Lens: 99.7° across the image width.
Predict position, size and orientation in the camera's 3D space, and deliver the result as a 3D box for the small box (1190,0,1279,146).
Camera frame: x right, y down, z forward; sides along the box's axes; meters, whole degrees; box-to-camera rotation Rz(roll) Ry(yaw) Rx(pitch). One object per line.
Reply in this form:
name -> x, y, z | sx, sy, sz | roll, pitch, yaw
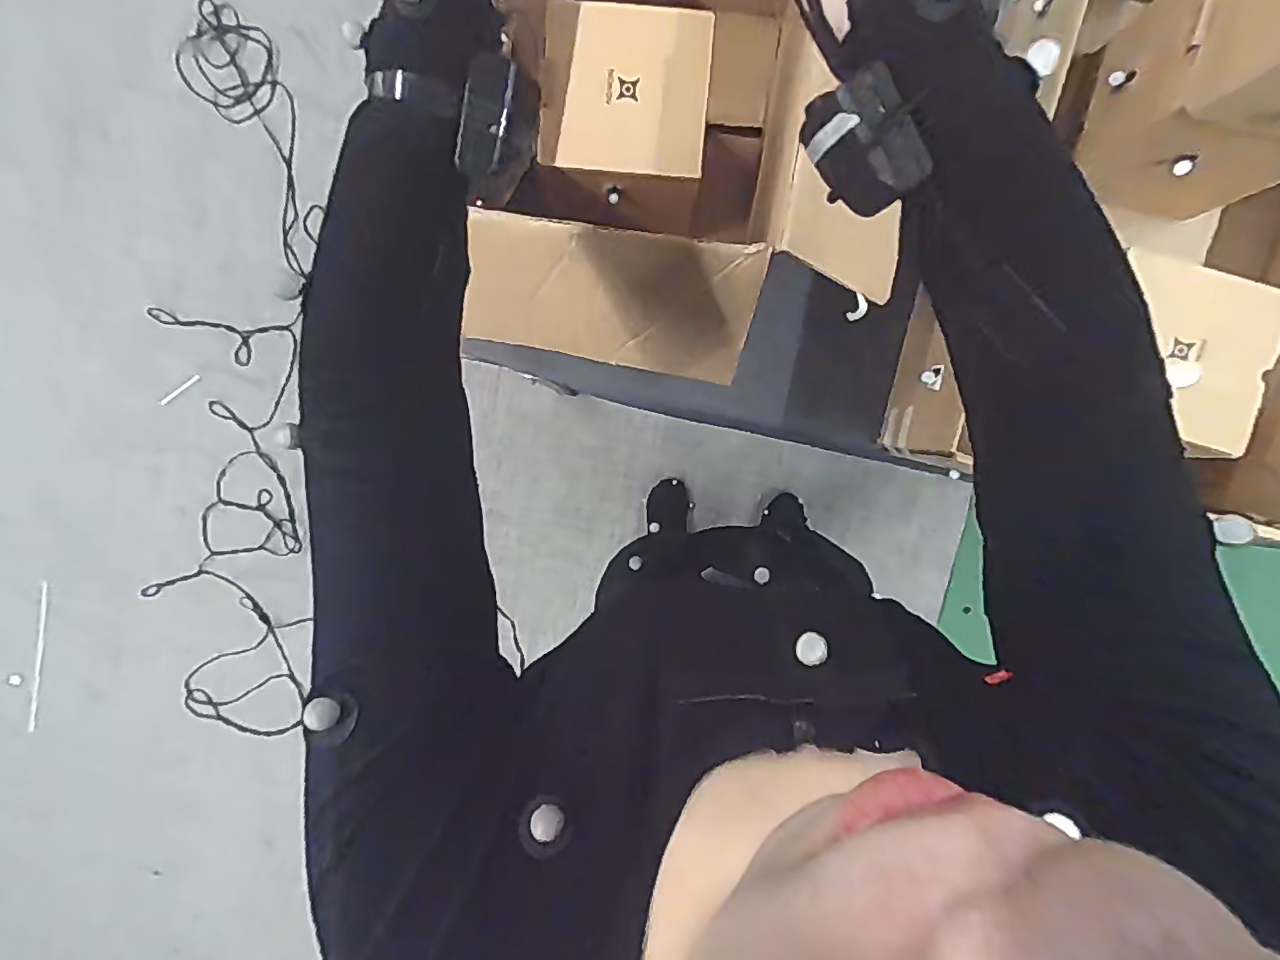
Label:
small box -> 0.609, -0.399, 0.426 | 0.168, 0.176, 0.179 | 13, 96, 0
